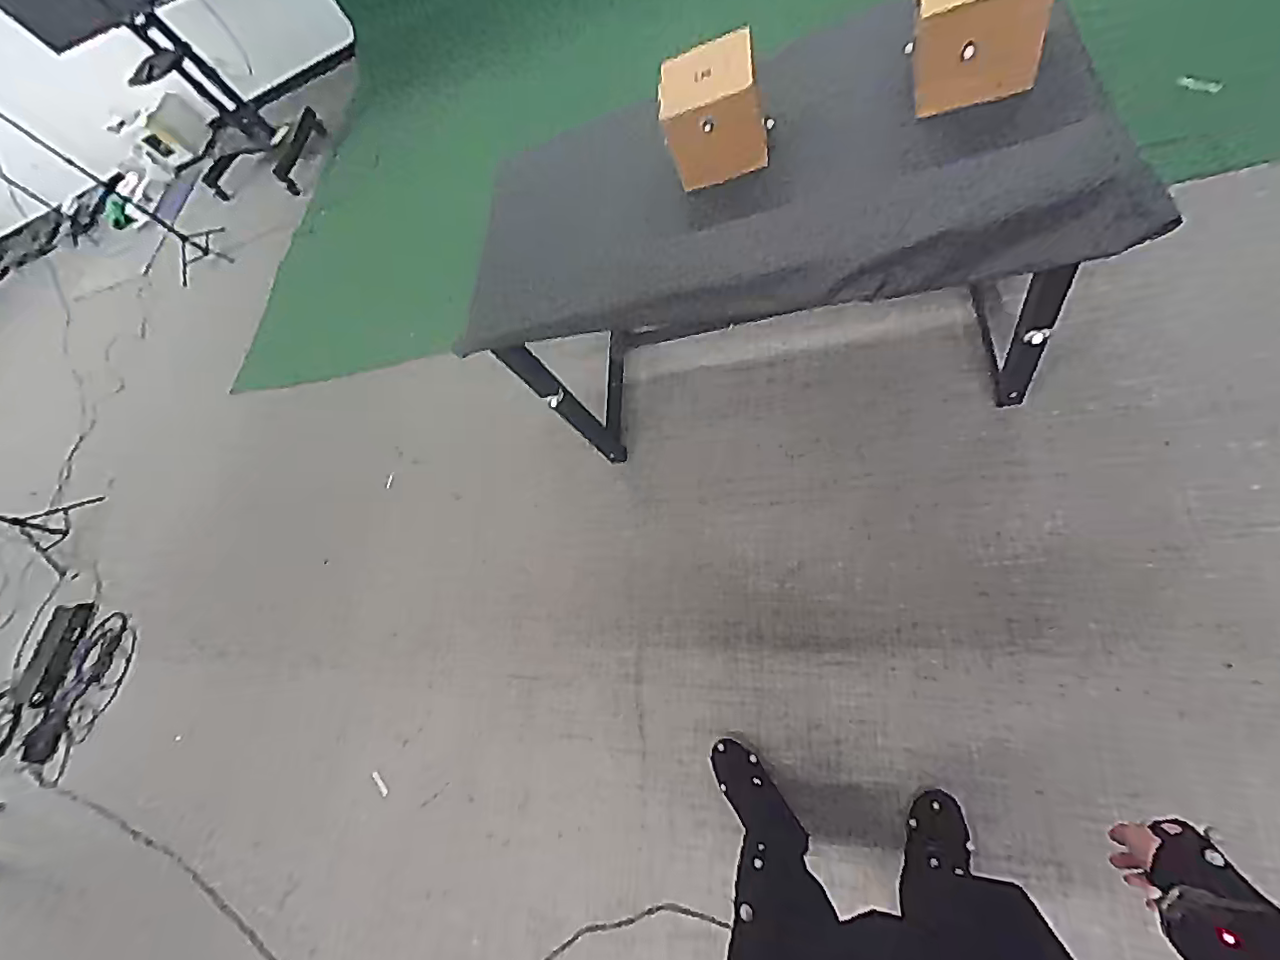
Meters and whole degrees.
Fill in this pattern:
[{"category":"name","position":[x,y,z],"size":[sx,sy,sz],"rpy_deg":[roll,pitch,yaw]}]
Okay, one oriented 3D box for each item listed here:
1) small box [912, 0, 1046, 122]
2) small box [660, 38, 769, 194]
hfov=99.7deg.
[{"category":"small box","position":[0.551,-0.741,0.896],"size":[0.179,0.176,0.168],"rpy_deg":[-1,68,25]},{"category":"small box","position":[0.149,-0.702,1.064],"size":[0.179,0.176,0.168],"rpy_deg":[-7,67,20]}]
